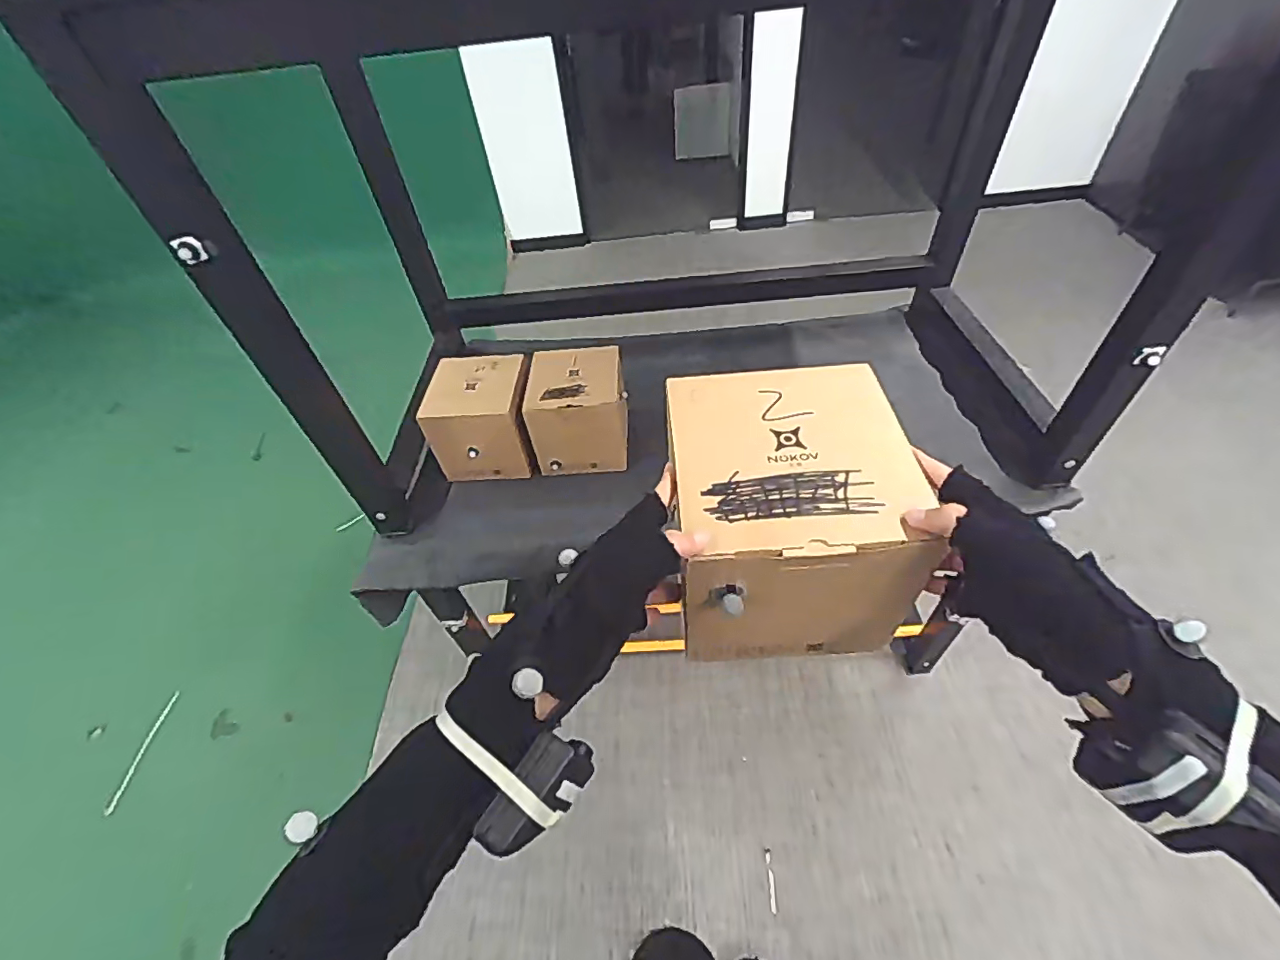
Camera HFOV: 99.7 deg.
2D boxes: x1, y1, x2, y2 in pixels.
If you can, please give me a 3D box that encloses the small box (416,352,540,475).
[{"bbox_3d":[-0.296,-0.122,1.033,0.168,0.176,0.179,-1,48,4],"label":"small box"}]
